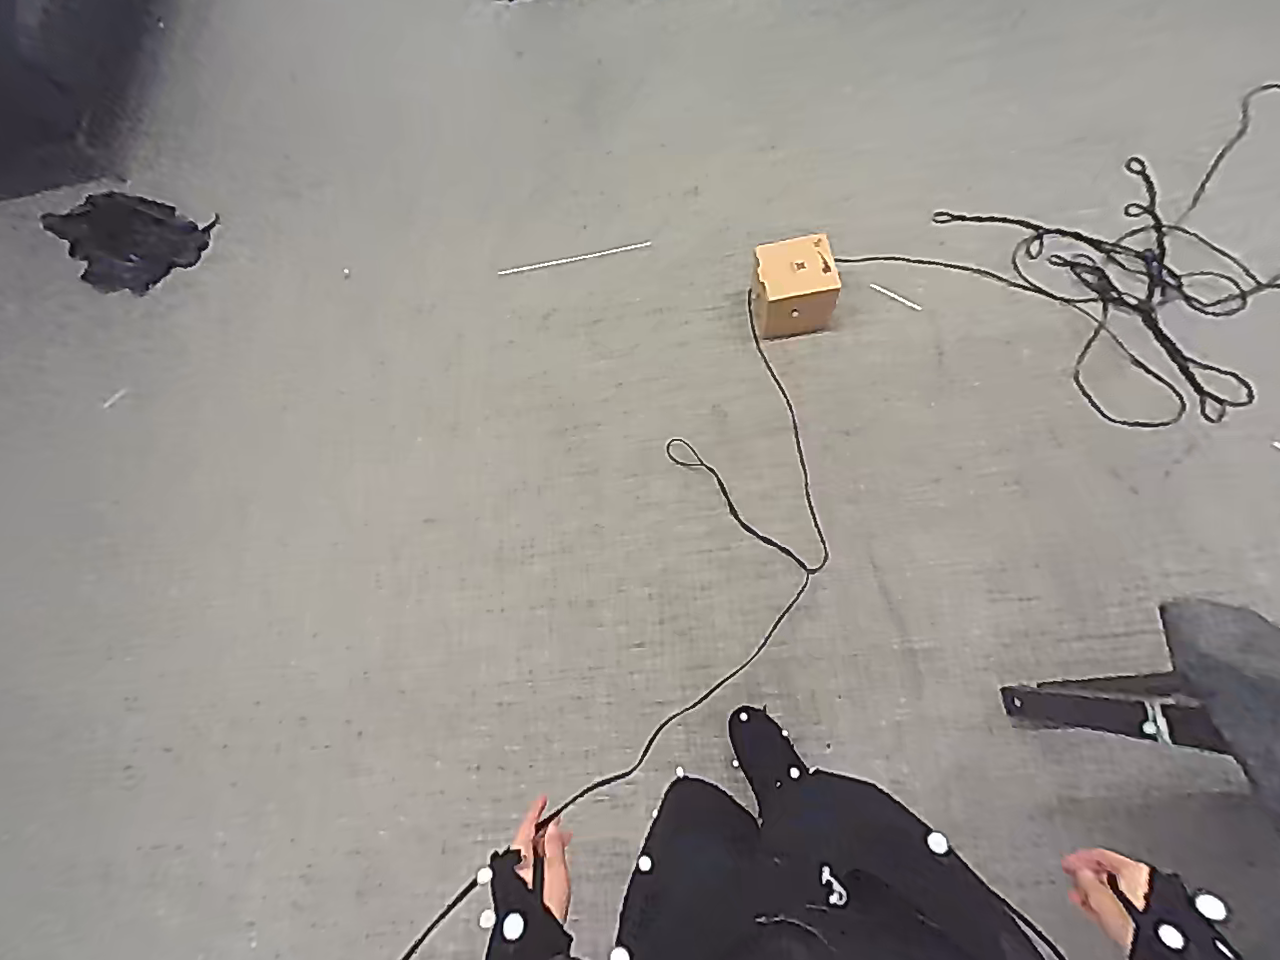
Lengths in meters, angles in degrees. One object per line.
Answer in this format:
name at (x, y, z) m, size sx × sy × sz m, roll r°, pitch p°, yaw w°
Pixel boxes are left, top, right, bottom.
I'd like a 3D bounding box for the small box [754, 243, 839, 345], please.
small box at (0.391, -0.468, 1.383) m, size 0.179 × 0.176 × 0.168 m, roll -9°, pitch 70°, yaw 6°
